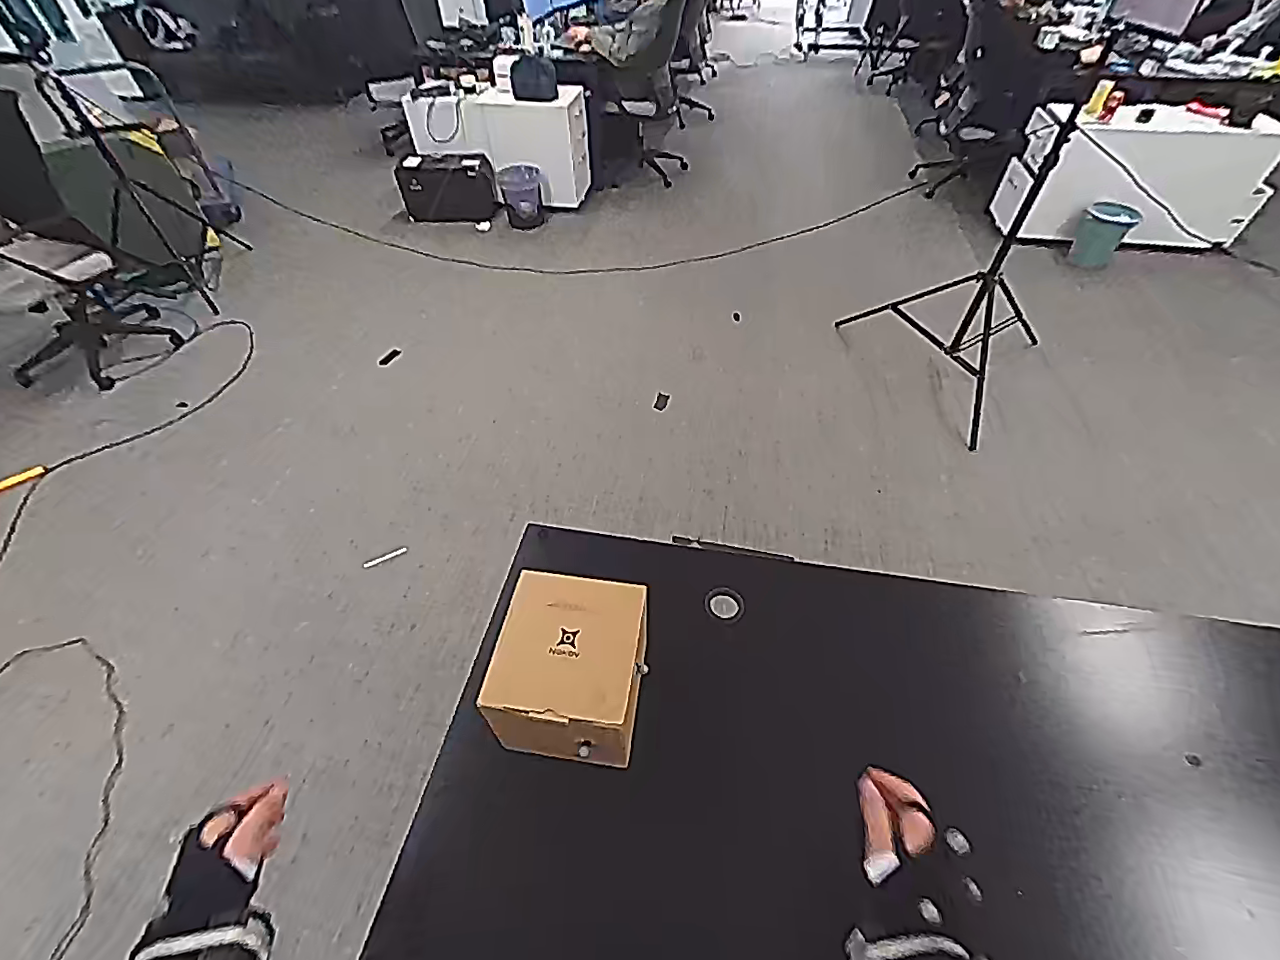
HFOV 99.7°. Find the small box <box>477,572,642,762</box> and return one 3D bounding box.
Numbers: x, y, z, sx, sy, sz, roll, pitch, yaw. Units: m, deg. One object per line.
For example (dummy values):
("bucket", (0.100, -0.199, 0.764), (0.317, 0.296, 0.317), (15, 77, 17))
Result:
("small box", (-0.089, 0.245, 0.703), (0.168, 0.176, 0.179), (7, 48, 5))
